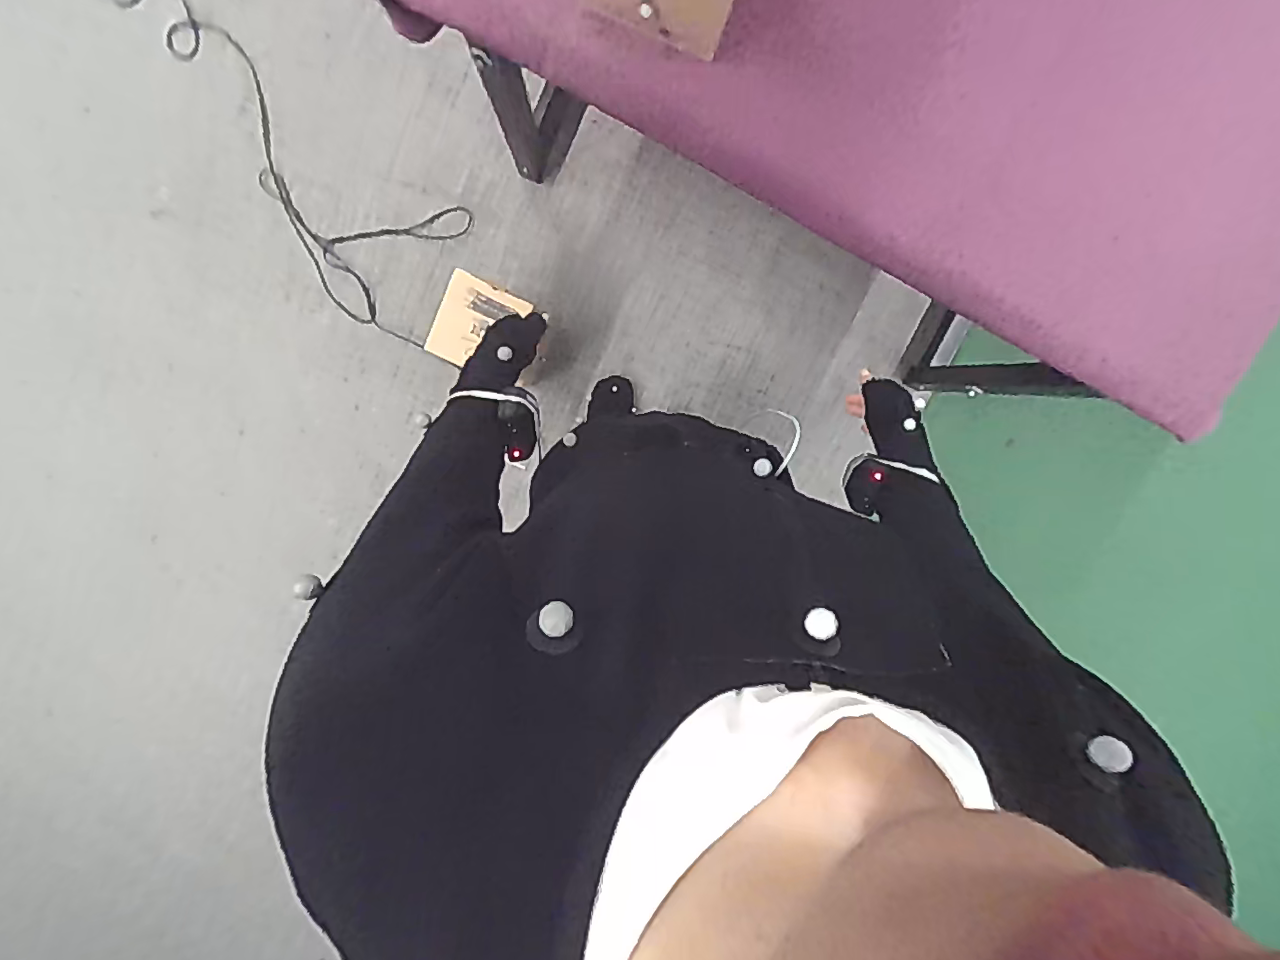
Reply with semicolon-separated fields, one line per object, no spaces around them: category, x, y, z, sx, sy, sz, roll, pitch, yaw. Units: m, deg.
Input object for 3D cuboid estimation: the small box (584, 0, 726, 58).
small box;0.037;-0.592;0.545;0.168;0.176;0.179;19;97;-8
